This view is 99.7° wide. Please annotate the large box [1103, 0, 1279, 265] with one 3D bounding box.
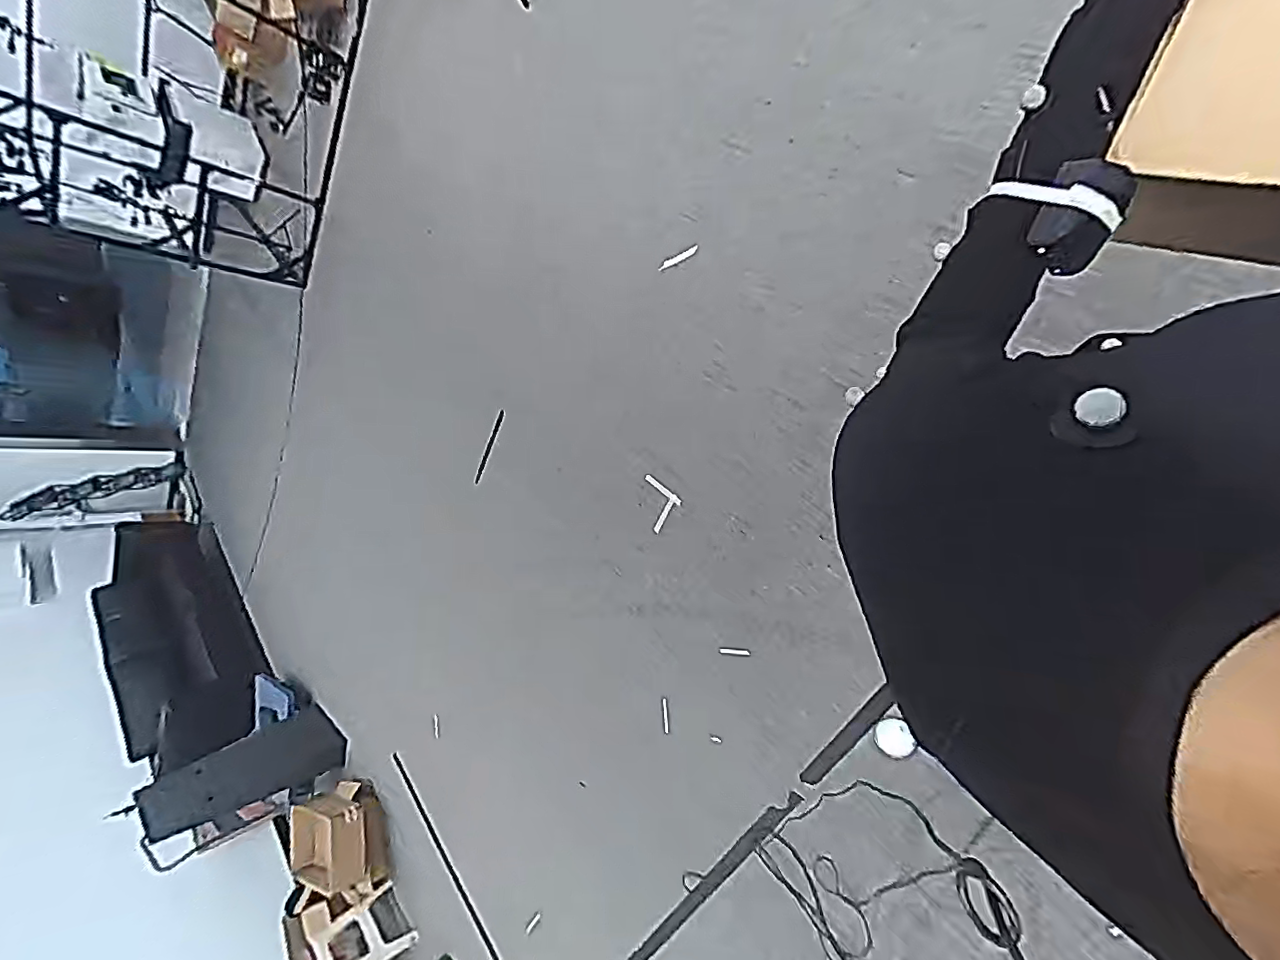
[{"bbox_3d":[0.615,-0.311,0.351,0.408,0.320,0.320,28,117,33],"label":"large box"}]
